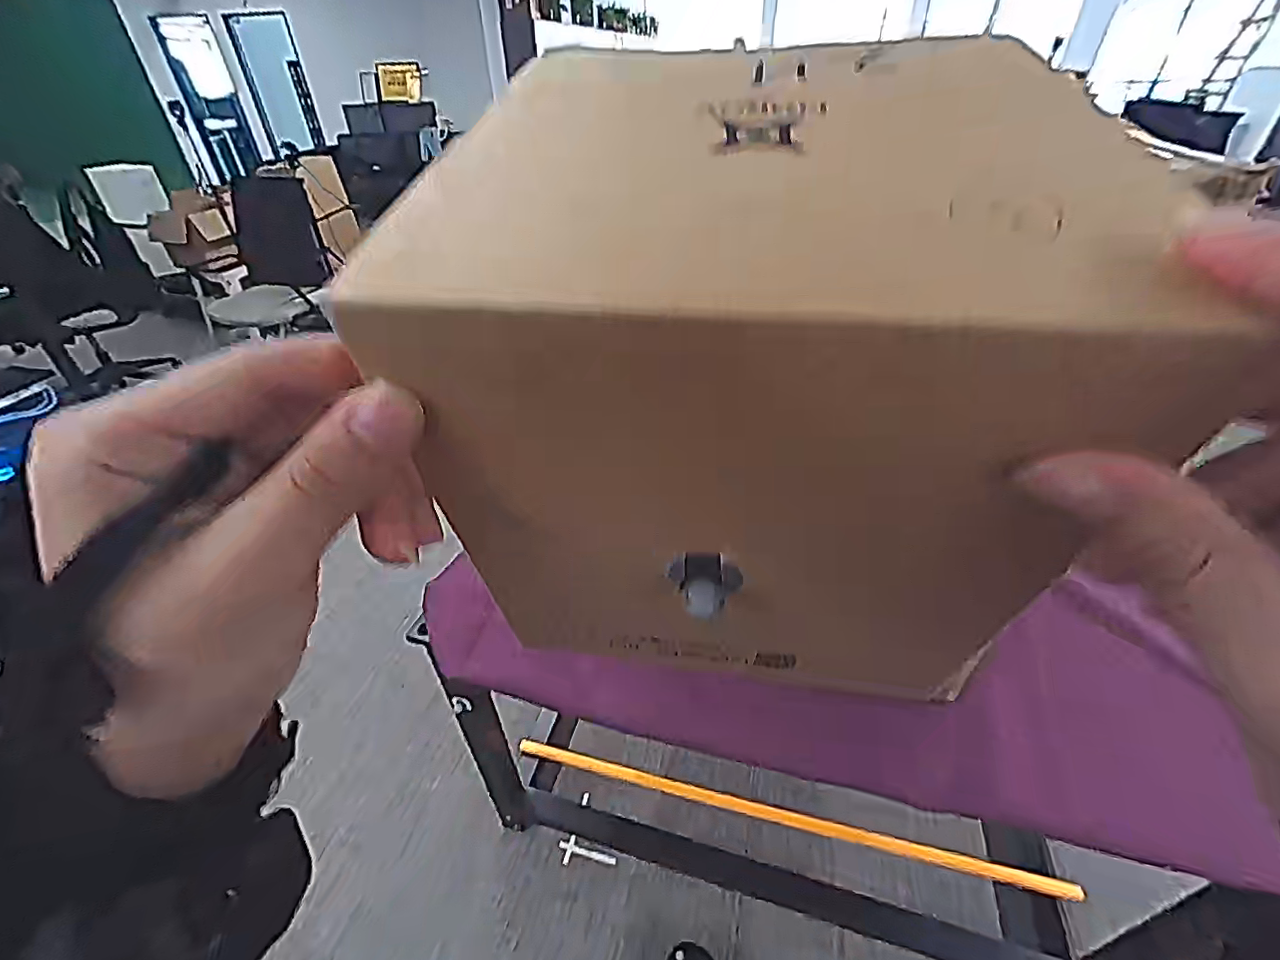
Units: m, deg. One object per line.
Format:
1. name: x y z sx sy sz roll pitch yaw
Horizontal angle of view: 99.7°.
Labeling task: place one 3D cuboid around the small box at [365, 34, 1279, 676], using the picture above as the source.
1. small box: 0.041 -0.041 0.210 0.168 0.176 0.179 5 51 8
